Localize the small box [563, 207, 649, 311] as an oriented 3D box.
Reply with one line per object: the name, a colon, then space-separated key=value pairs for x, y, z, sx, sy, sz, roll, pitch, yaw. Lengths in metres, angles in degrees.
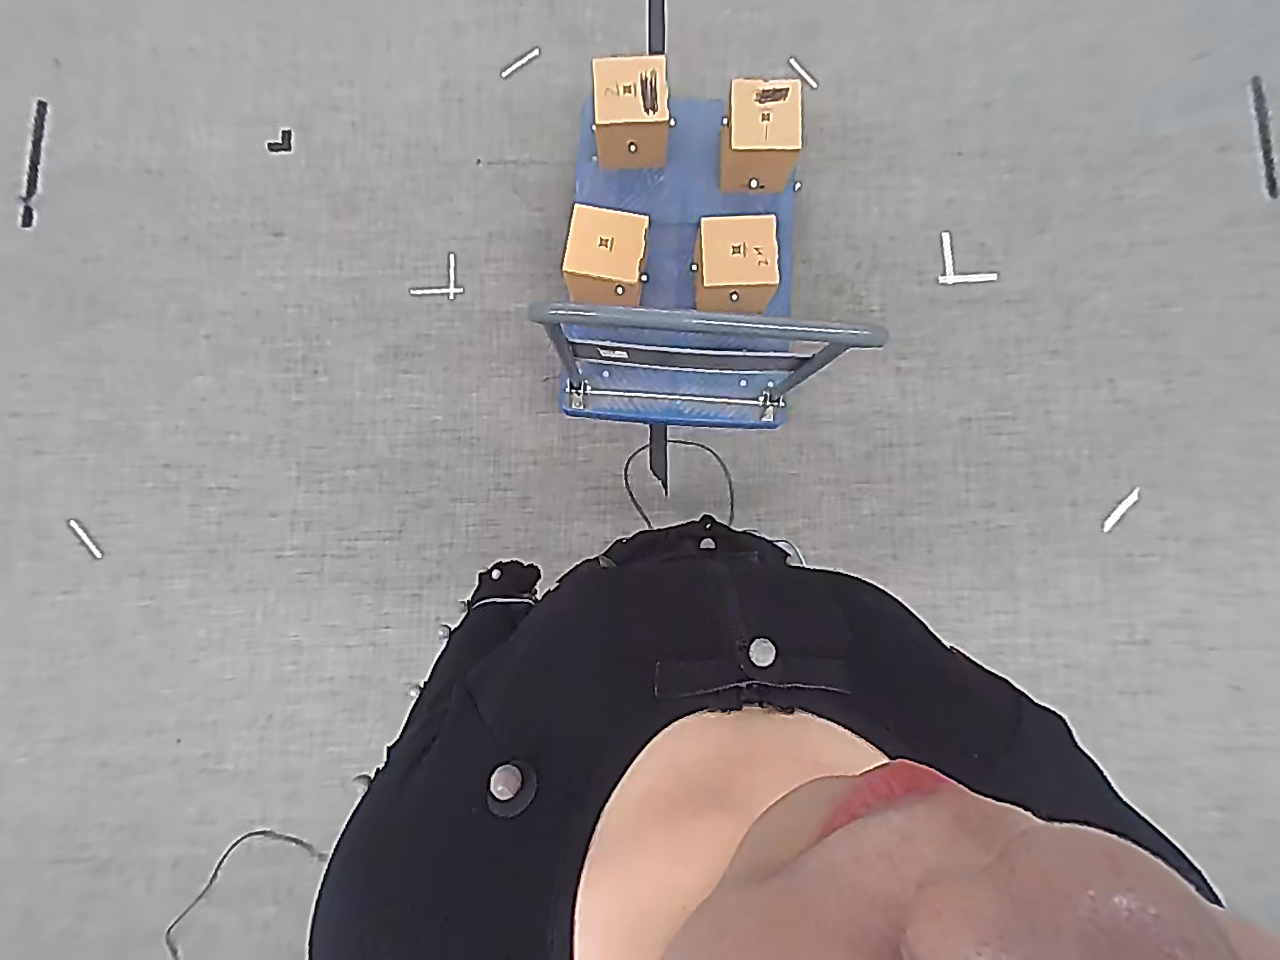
small box: x=-0.080 y=-0.533 z=1.324 sx=0.179 sy=0.176 sz=0.168 roll=9 pitch=84 yaw=-1

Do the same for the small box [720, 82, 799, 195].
small box: x=0.292 y=-0.847 z=1.351 sx=0.168 sy=0.176 sz=0.179 roll=1 pitch=86 yaw=0

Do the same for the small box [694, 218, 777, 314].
small box: x=0.226 y=-0.516 z=1.323 sx=0.179 sy=0.176 sz=0.168 roll=-2 pitch=85 yaw=0
